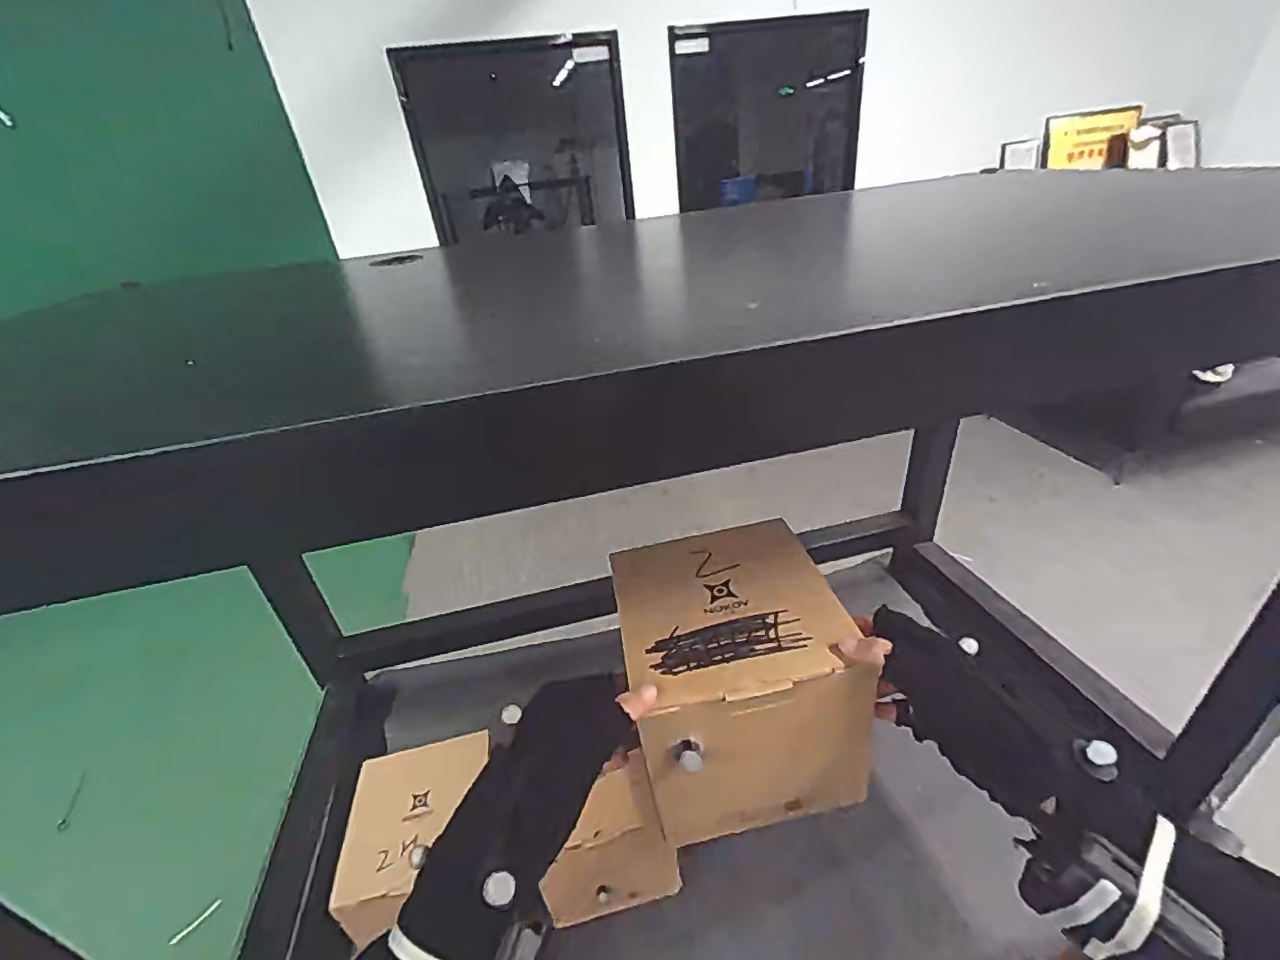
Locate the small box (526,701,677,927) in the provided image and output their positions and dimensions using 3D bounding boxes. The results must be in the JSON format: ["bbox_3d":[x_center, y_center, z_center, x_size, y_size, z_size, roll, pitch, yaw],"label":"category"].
[{"bbox_3d":[-0.054,0.434,0.714,0.168,0.176,0.179,-11,30,-8],"label":"small box"}]

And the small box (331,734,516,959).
[{"bbox_3d":[-0.257,0.468,0.690,0.168,0.176,0.179,-11,30,-8],"label":"small box"}]
